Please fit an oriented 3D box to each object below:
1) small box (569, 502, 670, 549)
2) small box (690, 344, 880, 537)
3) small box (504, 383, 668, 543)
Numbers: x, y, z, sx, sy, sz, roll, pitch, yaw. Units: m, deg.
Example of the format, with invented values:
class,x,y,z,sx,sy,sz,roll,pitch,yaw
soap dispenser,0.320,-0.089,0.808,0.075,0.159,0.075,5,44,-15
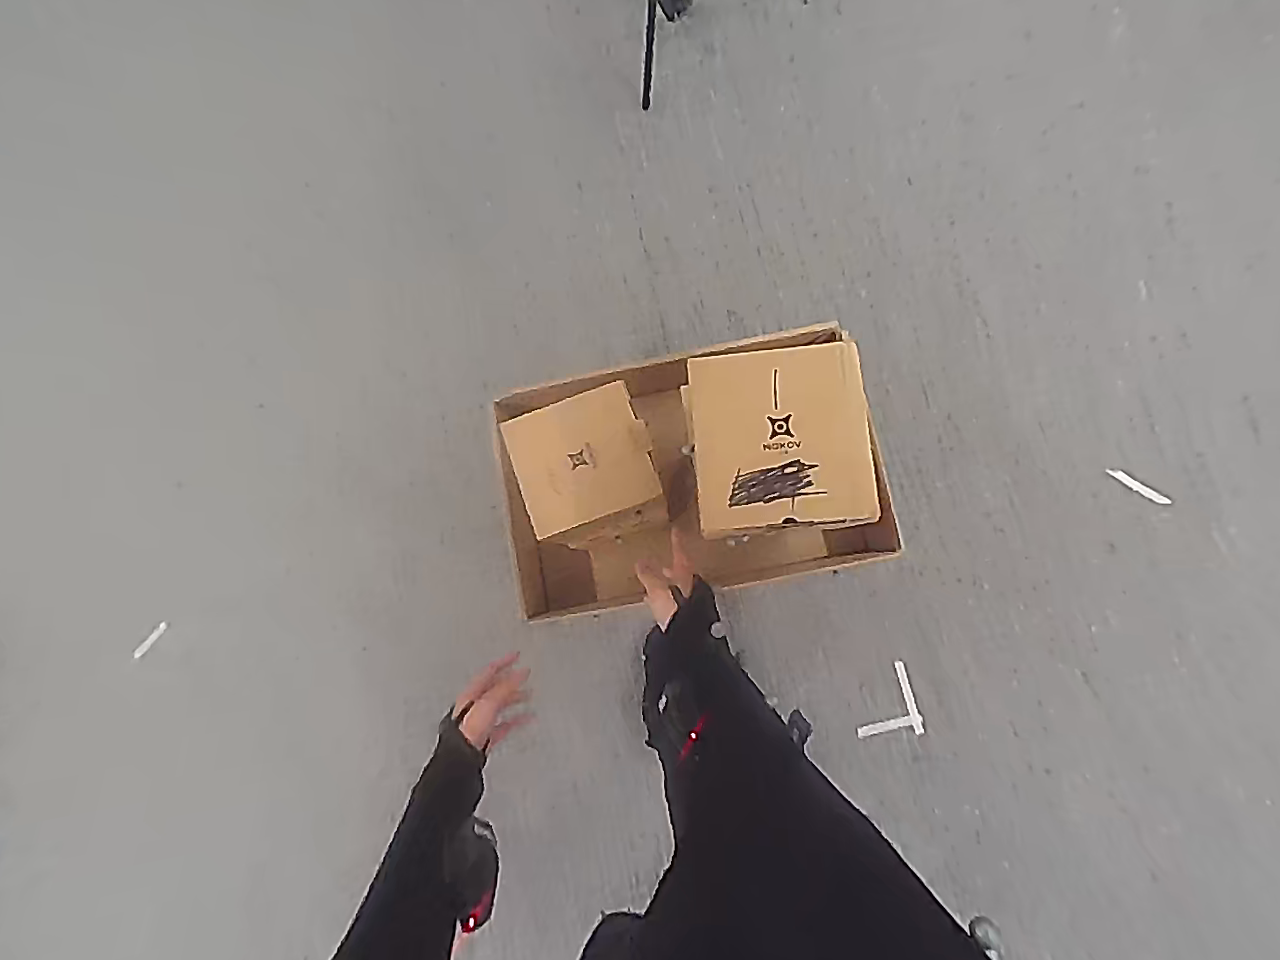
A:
class,x,y,z,sx,sy,sz,roll,pitch,yaw
small box,-0.054,0.013,0.933,0.168,0.176,0.179,-19,82,1
small box,0.145,-0.029,0.592,0.168,0.176,0.179,-5,82,6
small box,-0.069,-0.015,0.772,0.179,0.176,0.168,-20,81,0
